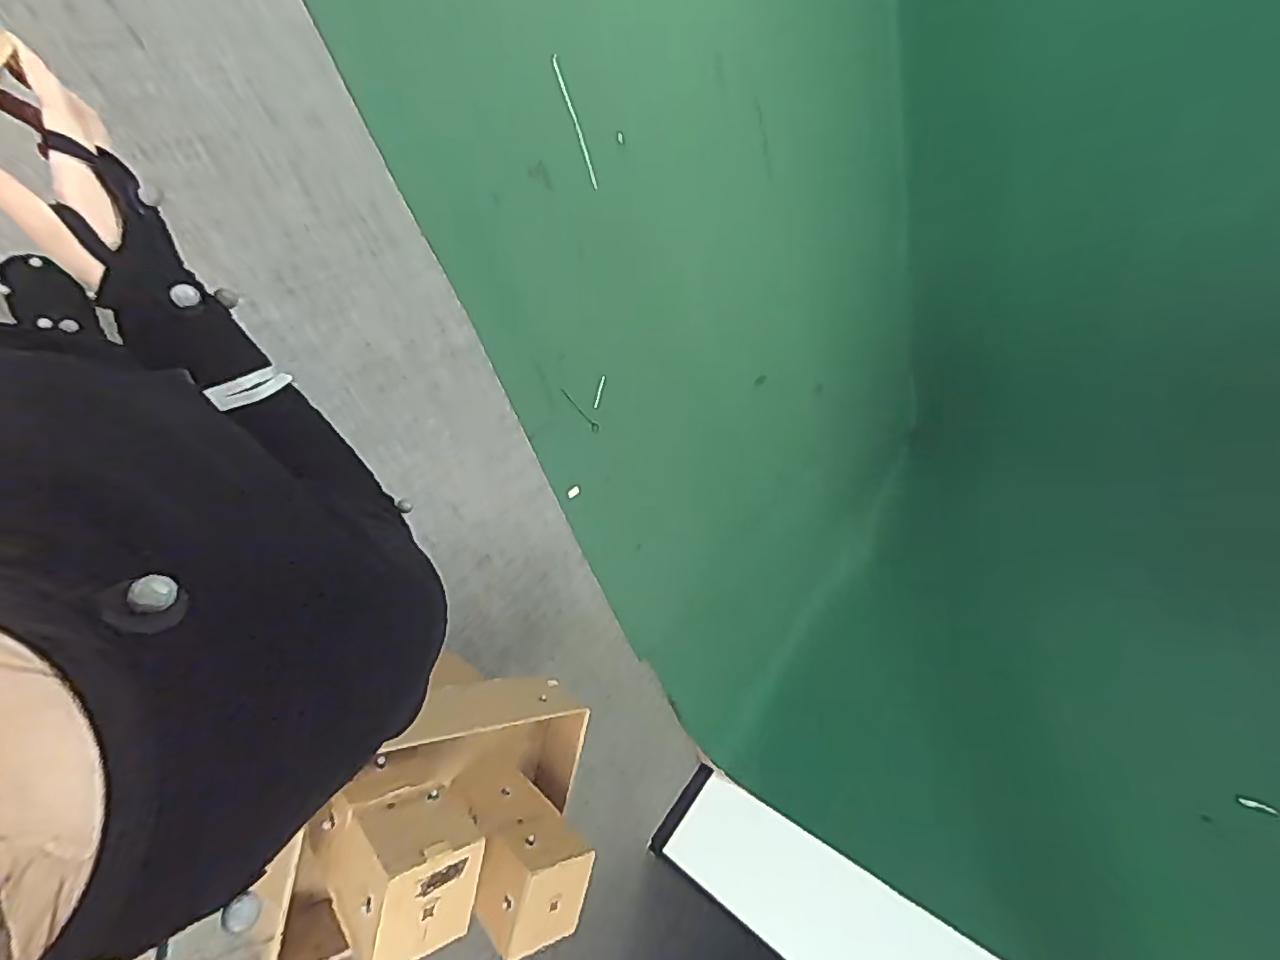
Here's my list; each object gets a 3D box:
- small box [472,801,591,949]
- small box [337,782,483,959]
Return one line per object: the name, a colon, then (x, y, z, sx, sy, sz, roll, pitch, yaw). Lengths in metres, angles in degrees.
small box: (-0.235, 0.810, 1.139, 0.168, 0.176, 0.179, 16, 89, -44)
small box: (-0.397, 0.654, 0.929, 0.168, 0.176, 0.179, 9, 95, -46)
